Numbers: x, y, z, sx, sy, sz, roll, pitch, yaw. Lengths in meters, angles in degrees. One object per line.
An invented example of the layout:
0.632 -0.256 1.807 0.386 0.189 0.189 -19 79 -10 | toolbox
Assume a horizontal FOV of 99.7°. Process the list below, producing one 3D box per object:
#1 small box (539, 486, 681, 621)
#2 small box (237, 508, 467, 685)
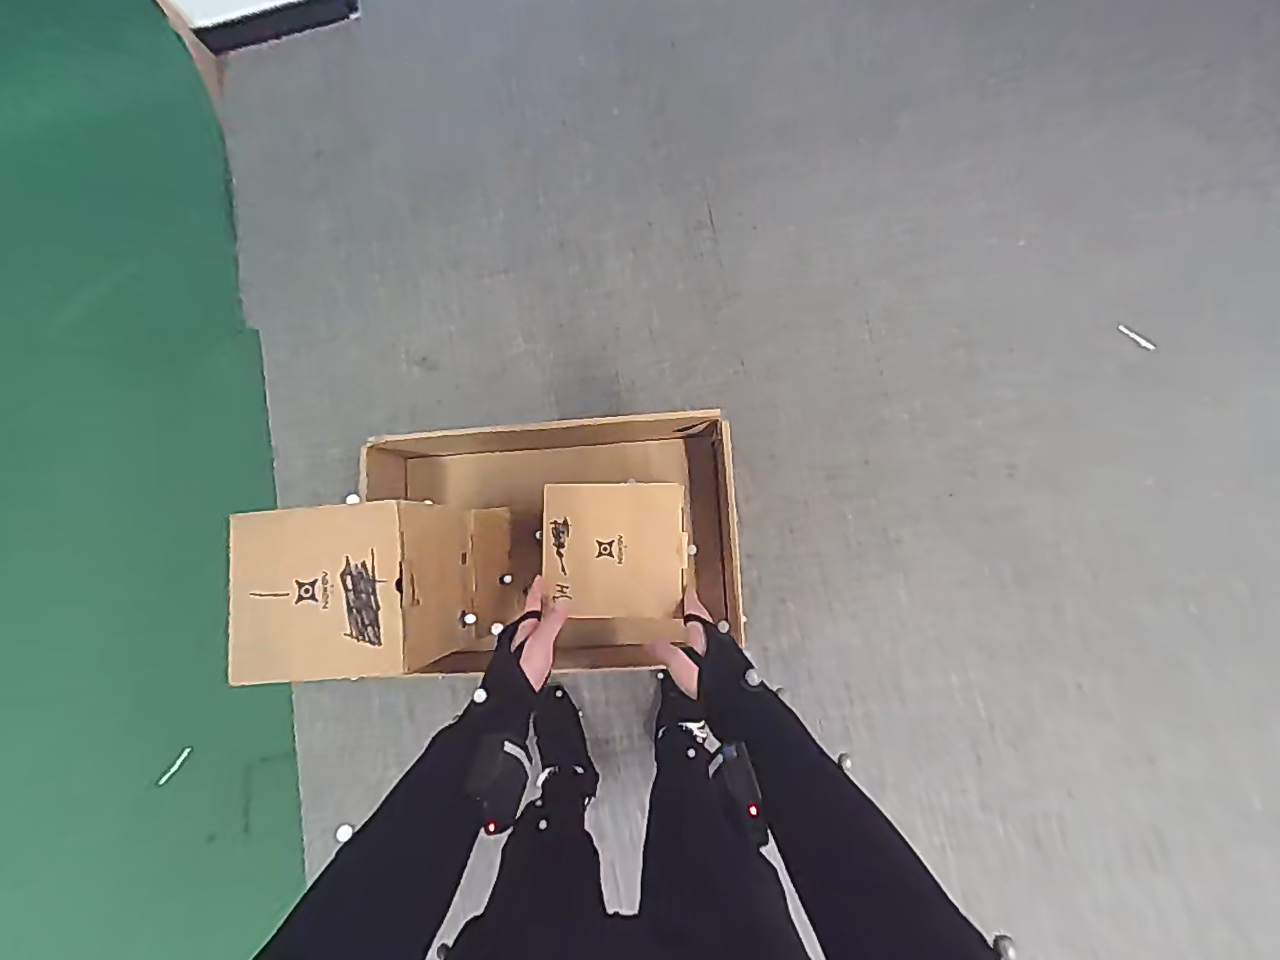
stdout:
-0.031 0.096 0.747 0.179 0.176 0.168 -1 84 6 | small box
-0.306 0.121 0.608 0.179 0.176 0.168 -6 83 6 | small box
